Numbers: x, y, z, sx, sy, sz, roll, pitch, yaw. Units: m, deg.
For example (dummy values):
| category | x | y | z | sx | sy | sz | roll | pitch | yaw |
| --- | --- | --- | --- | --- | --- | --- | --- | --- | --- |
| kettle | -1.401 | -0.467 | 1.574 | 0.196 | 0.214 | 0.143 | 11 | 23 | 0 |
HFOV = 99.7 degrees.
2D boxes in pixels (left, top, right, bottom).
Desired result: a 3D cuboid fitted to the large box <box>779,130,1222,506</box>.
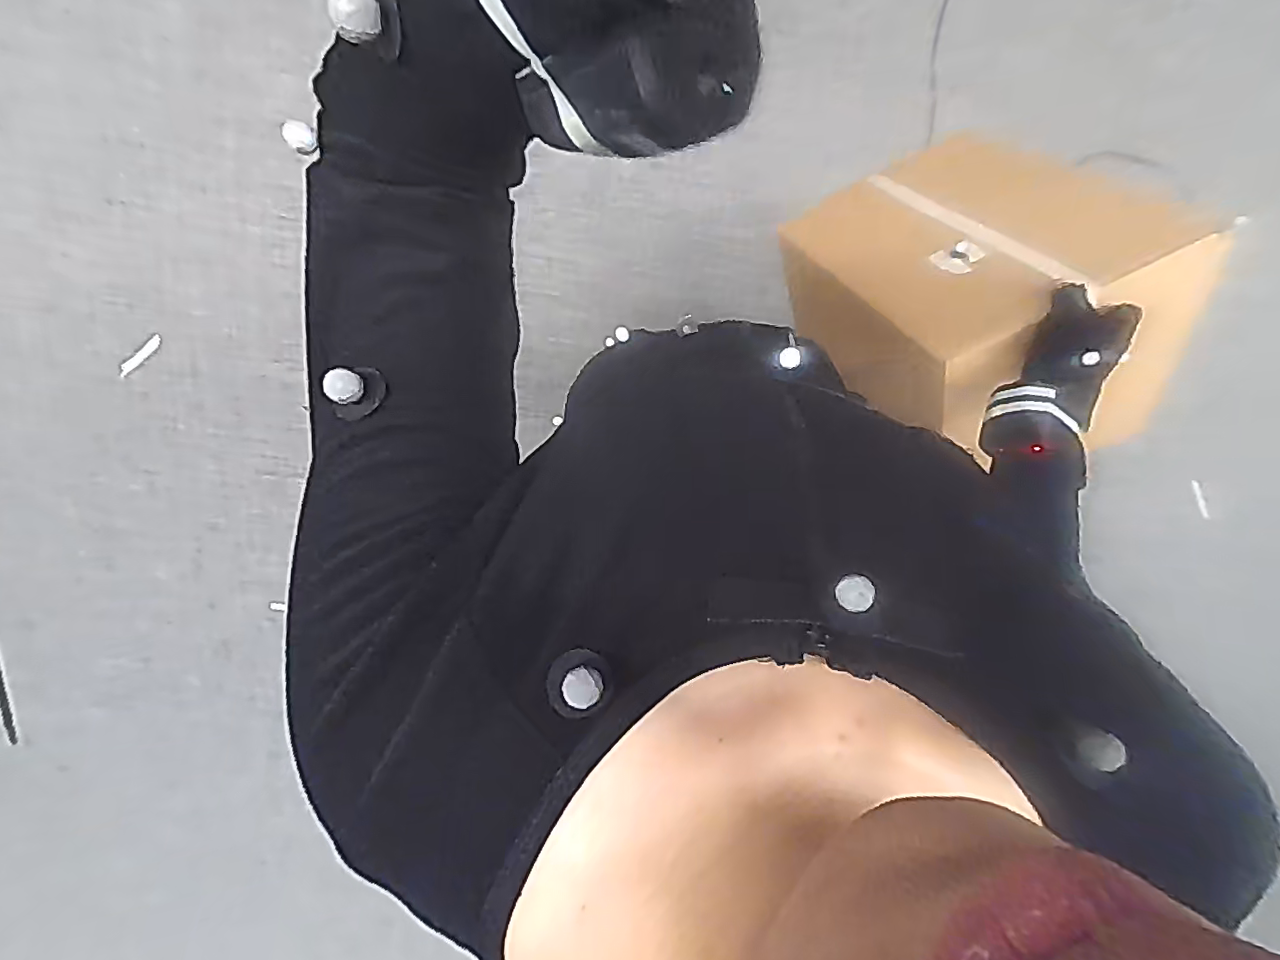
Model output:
| category | x | y | z | sx | sy | sz | roll | pitch | yaw |
| --- | --- | --- | --- | --- | --- | --- | --- | --- | --- |
| large box | 0.454 | -0.243 | 0.804 | 0.320 | 0.408 | 0.320 | -26 | 138 | 5 |
